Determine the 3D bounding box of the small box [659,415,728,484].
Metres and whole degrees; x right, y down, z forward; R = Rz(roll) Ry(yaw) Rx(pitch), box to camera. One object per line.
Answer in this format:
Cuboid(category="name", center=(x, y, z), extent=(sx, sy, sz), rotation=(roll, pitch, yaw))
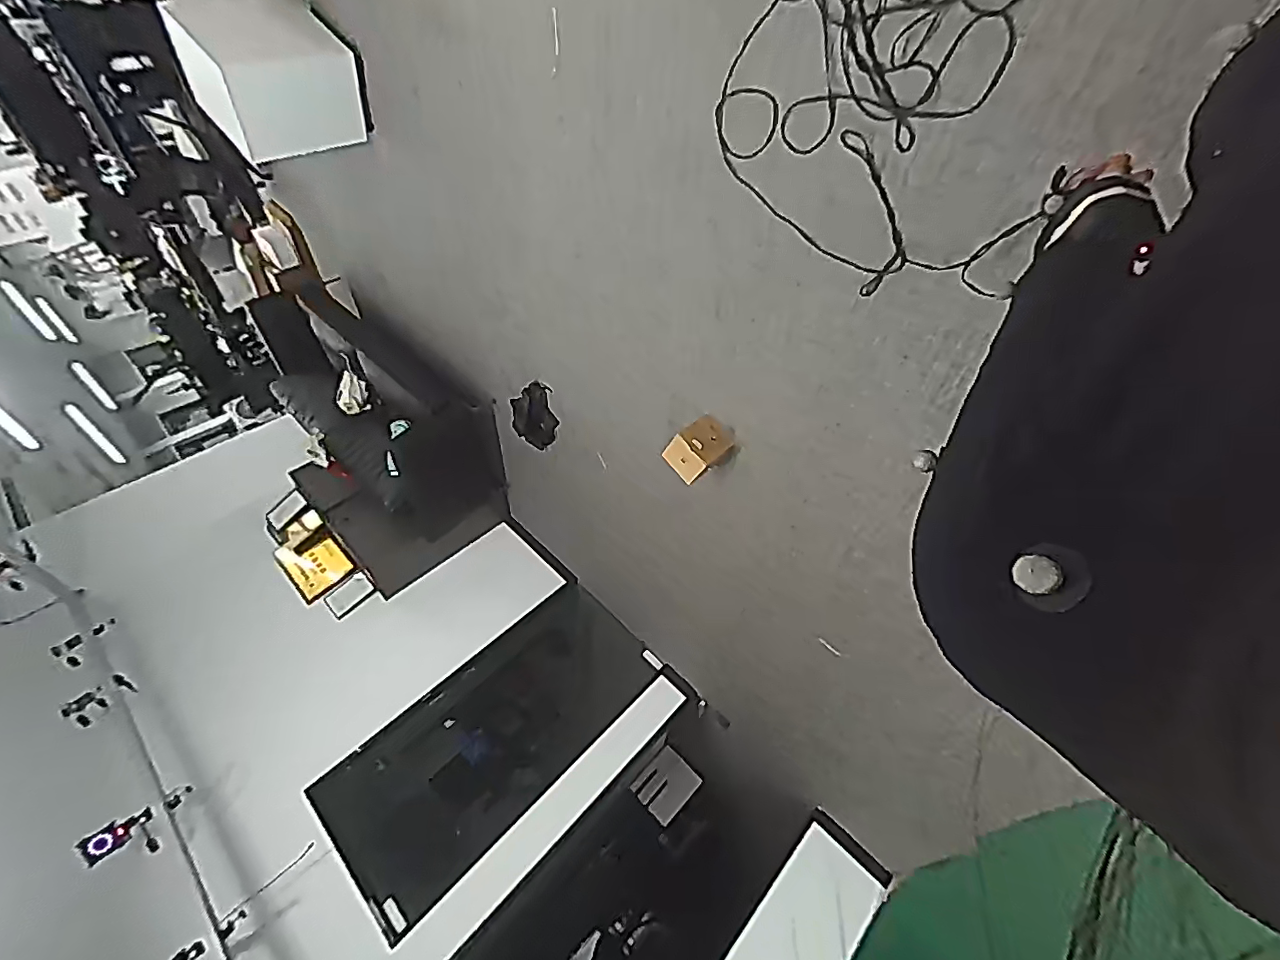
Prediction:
Cuboid(category="small box", center=(0.208, -0.117, 2.085), extent=(0.168, 0.176, 0.179), rotation=(50, 149, 8))
